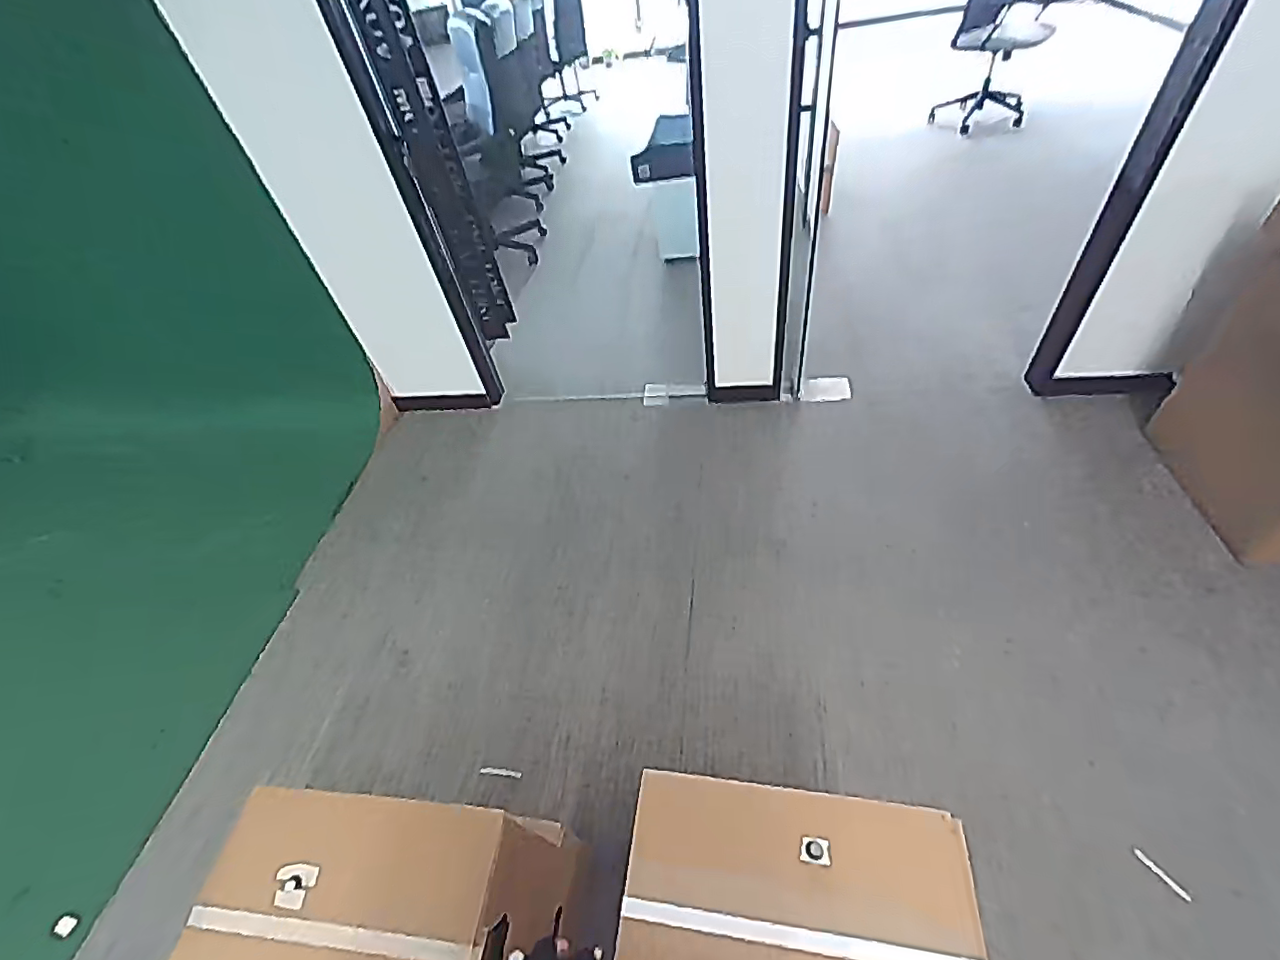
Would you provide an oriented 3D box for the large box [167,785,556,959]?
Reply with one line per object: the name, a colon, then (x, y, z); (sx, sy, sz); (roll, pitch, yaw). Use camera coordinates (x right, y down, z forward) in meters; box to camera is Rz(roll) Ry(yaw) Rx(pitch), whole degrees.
large box: (-0.376, 0.665, 0.797); (0.408, 0.320, 0.320); (-1, 50, 11)
